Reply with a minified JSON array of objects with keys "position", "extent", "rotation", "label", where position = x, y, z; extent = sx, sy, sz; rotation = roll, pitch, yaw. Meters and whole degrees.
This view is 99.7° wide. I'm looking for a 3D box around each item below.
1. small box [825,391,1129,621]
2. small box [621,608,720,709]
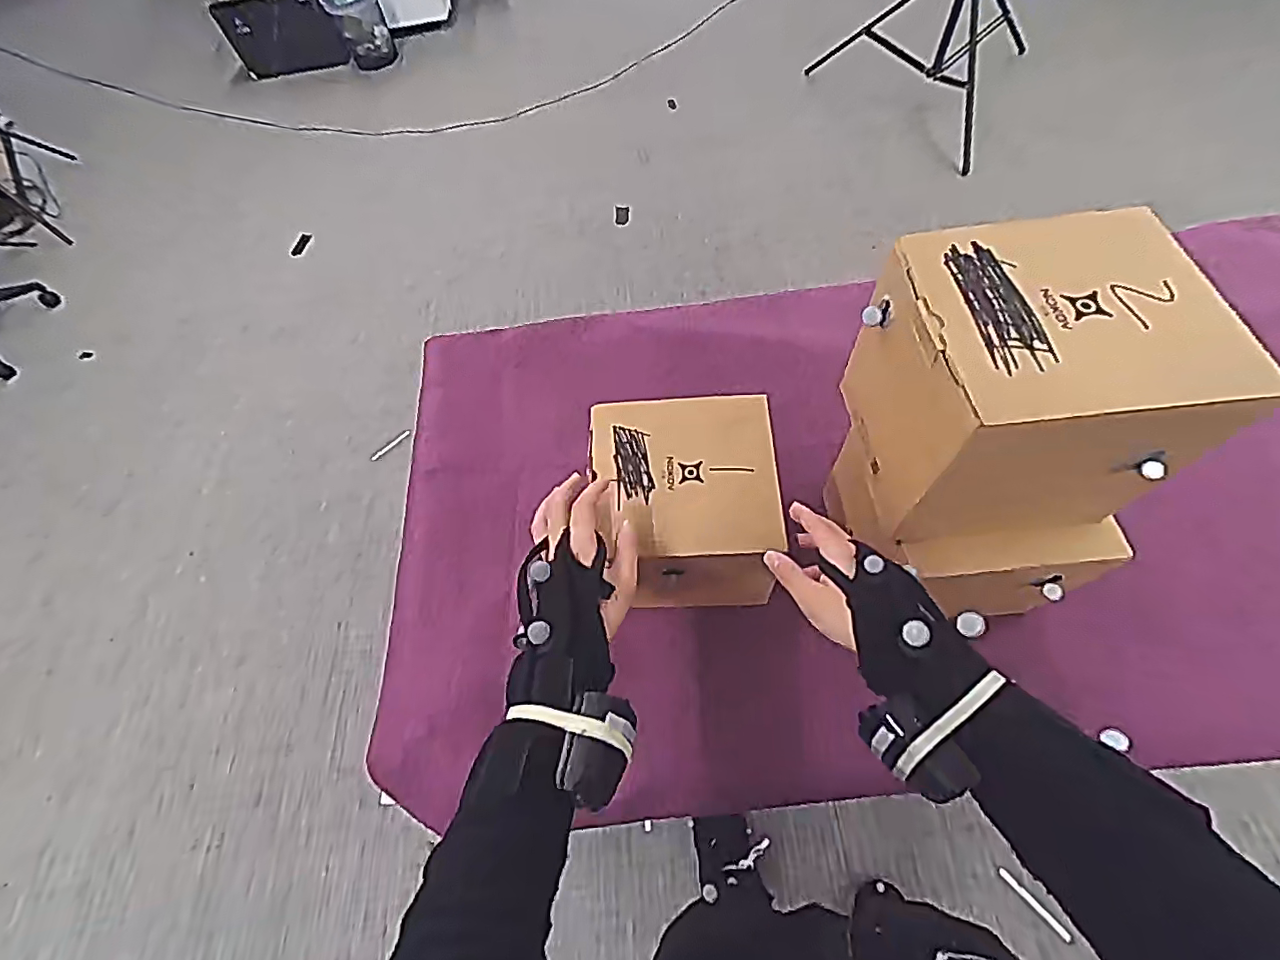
[{"position":[0.303,0.034,0.537],"extent":[0.179,0.176,0.168],"rotation":[-6,60,3],"label":"small box"},{"position":[0.060,0.365,1.094],"extent":[0.179,0.176,0.168],"rotation":[-7,63,2],"label":"small box"}]
